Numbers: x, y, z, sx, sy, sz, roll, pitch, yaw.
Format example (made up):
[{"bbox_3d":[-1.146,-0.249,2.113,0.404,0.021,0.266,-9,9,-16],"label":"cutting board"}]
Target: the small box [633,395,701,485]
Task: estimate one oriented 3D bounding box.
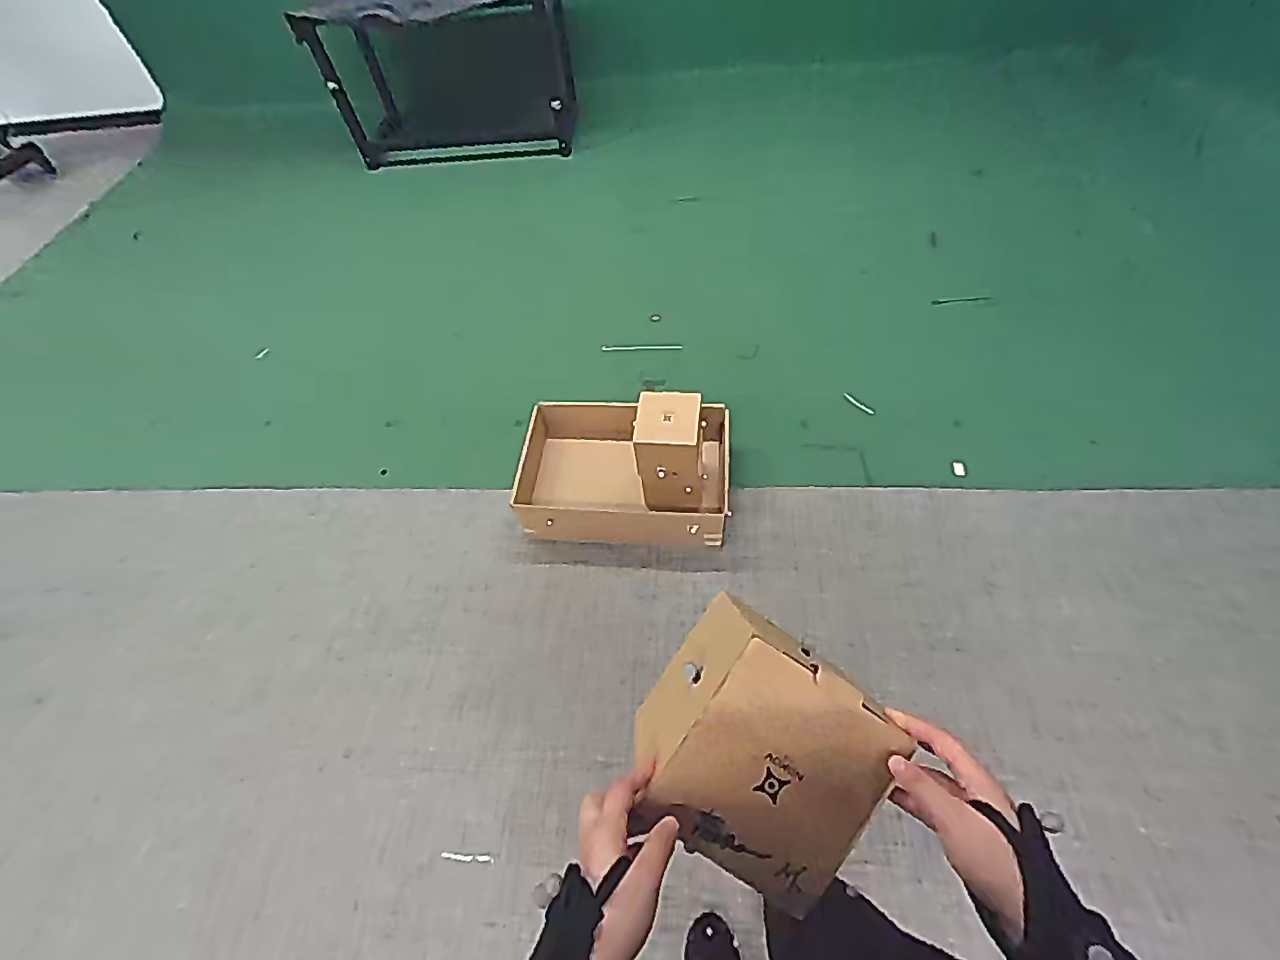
[{"bbox_3d":[0.079,-0.108,1.471,0.168,0.176,0.179,3,58,9],"label":"small box"}]
